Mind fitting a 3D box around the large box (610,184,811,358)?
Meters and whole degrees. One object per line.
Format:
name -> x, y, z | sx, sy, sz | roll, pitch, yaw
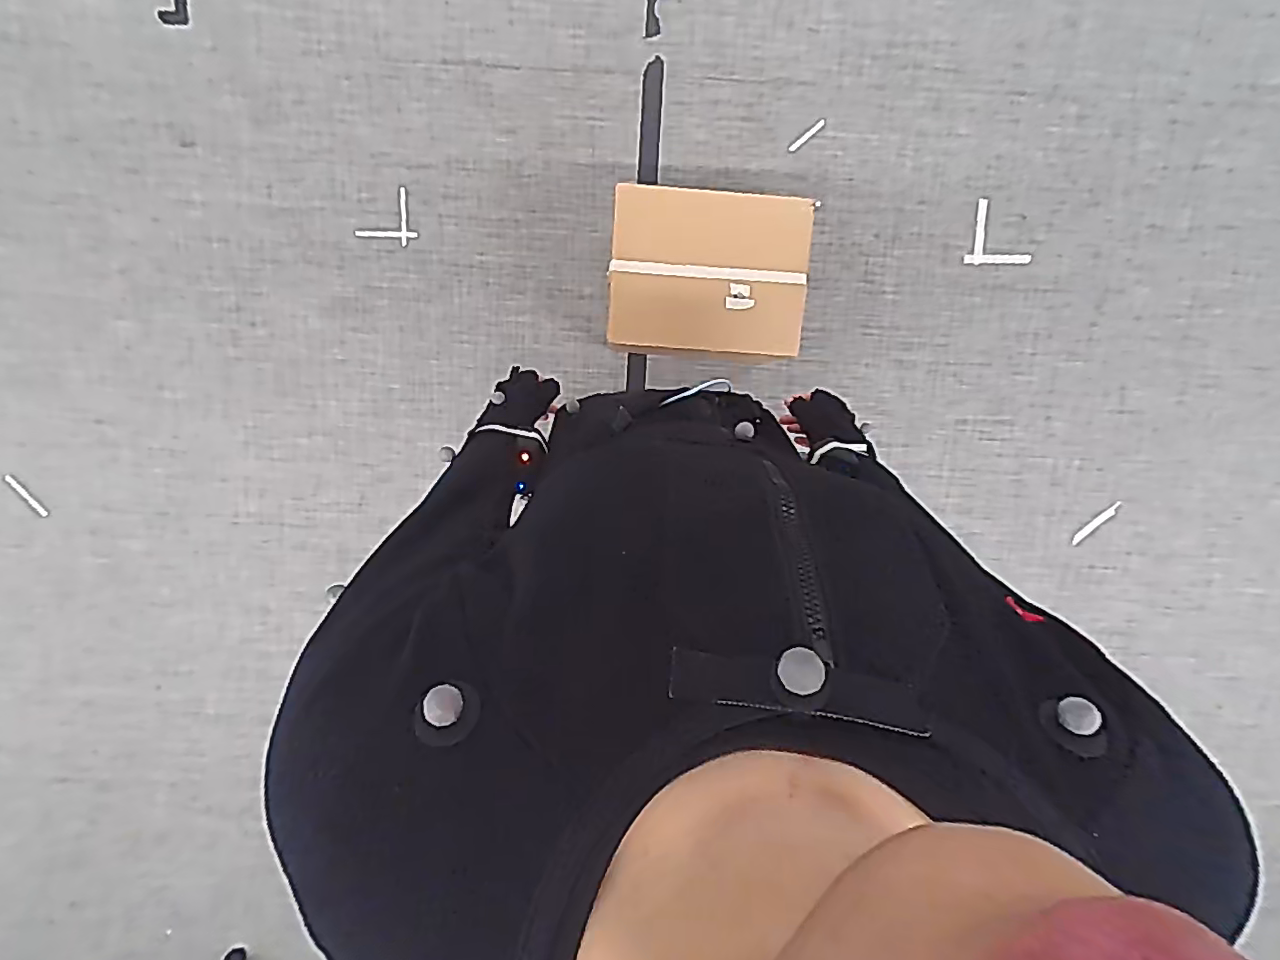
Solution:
large box -> 0.136, -0.461, 1.269 | 0.408, 0.320, 0.320 | 4, 101, -3
